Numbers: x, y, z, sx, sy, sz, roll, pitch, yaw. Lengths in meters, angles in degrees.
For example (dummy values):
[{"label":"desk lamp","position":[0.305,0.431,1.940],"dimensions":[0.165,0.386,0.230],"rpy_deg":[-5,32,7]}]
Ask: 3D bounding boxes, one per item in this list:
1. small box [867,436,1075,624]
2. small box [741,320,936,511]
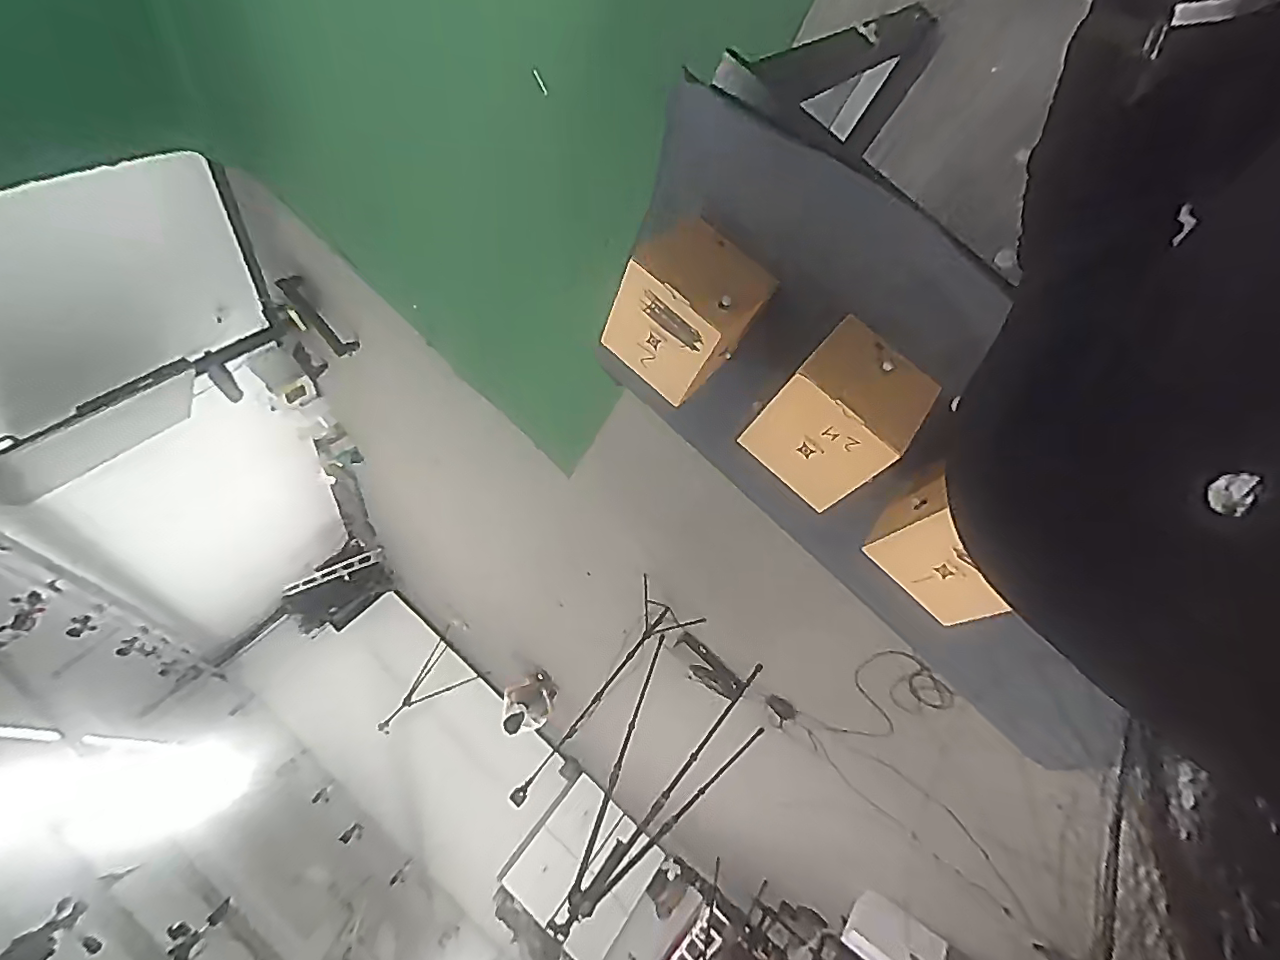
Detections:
[{"label":"small box","position":[0.465,0.070,0.759],"dimensions":[0.168,0.176,0.179],"rpy_deg":[43,148,4]},{"label":"small box","position":[0.285,-0.092,0.780],"dimensions":[0.168,0.176,0.179],"rpy_deg":[42,147,5]}]
